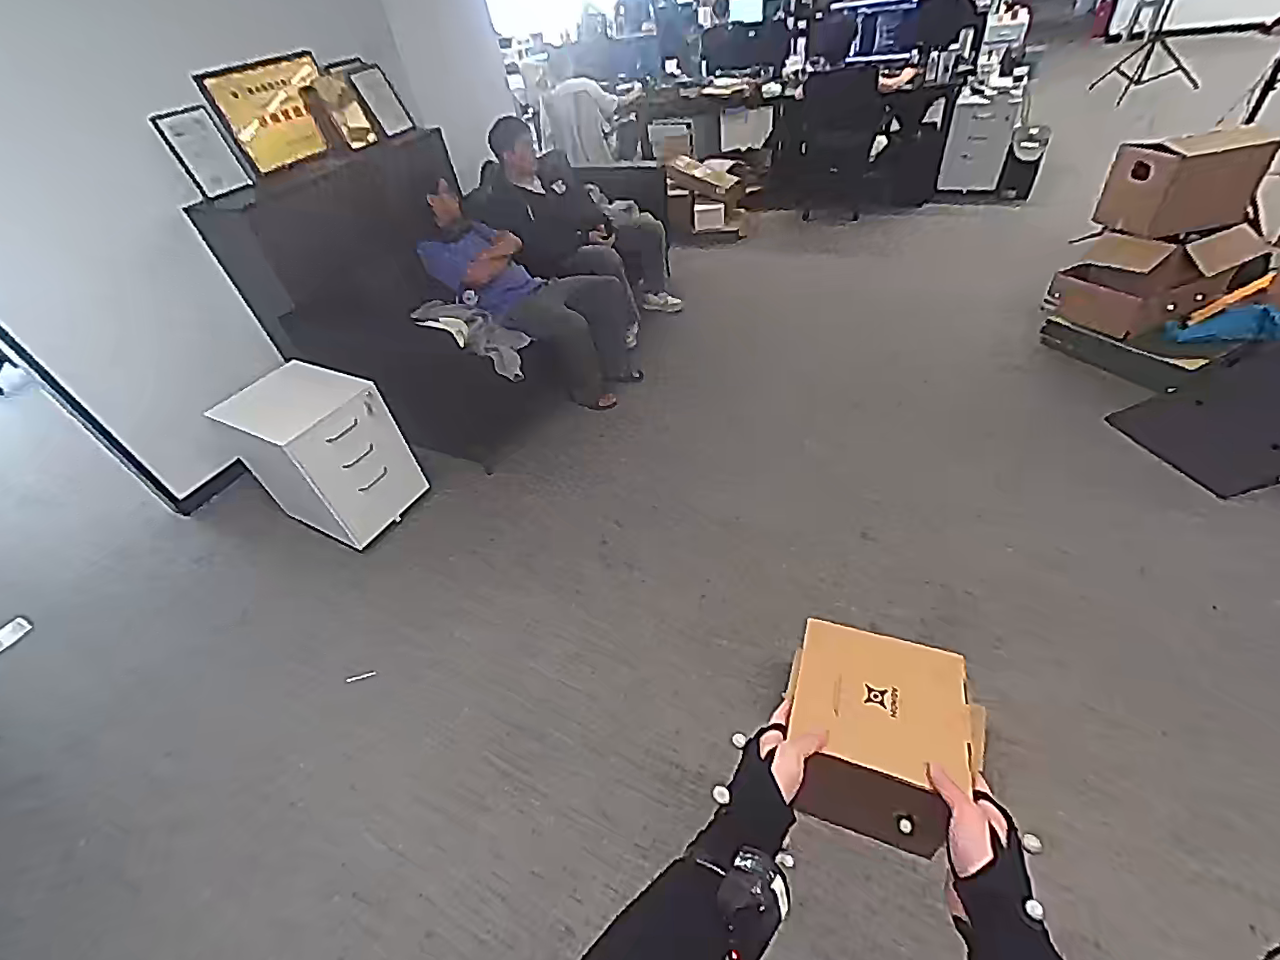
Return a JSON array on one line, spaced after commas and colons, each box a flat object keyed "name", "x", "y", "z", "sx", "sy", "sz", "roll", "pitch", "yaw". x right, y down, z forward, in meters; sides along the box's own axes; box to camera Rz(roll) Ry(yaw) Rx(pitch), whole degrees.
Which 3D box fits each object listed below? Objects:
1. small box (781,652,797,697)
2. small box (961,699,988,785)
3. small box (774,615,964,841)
[{"name": "small box", "x": 0.498, "y": 0.583, "z": 1.490, "sx": 0.179, "sy": 0.176, "sz": 0.168, "roll": -12, "pitch": 40, "yaw": 1}, {"name": "small box", "x": 0.751, "y": 0.651, "z": 1.371, "sx": 0.179, "sy": 0.176, "sz": 0.168, "roll": 17, "pitch": 51, "yaw": 28}, {"name": "small box", "x": 0.266, "y": 0.296, "z": 0.647, "sx": 0.179, "sy": 0.176, "sz": 0.168, "roll": 10, "pitch": 41, "yaw": 21}]
